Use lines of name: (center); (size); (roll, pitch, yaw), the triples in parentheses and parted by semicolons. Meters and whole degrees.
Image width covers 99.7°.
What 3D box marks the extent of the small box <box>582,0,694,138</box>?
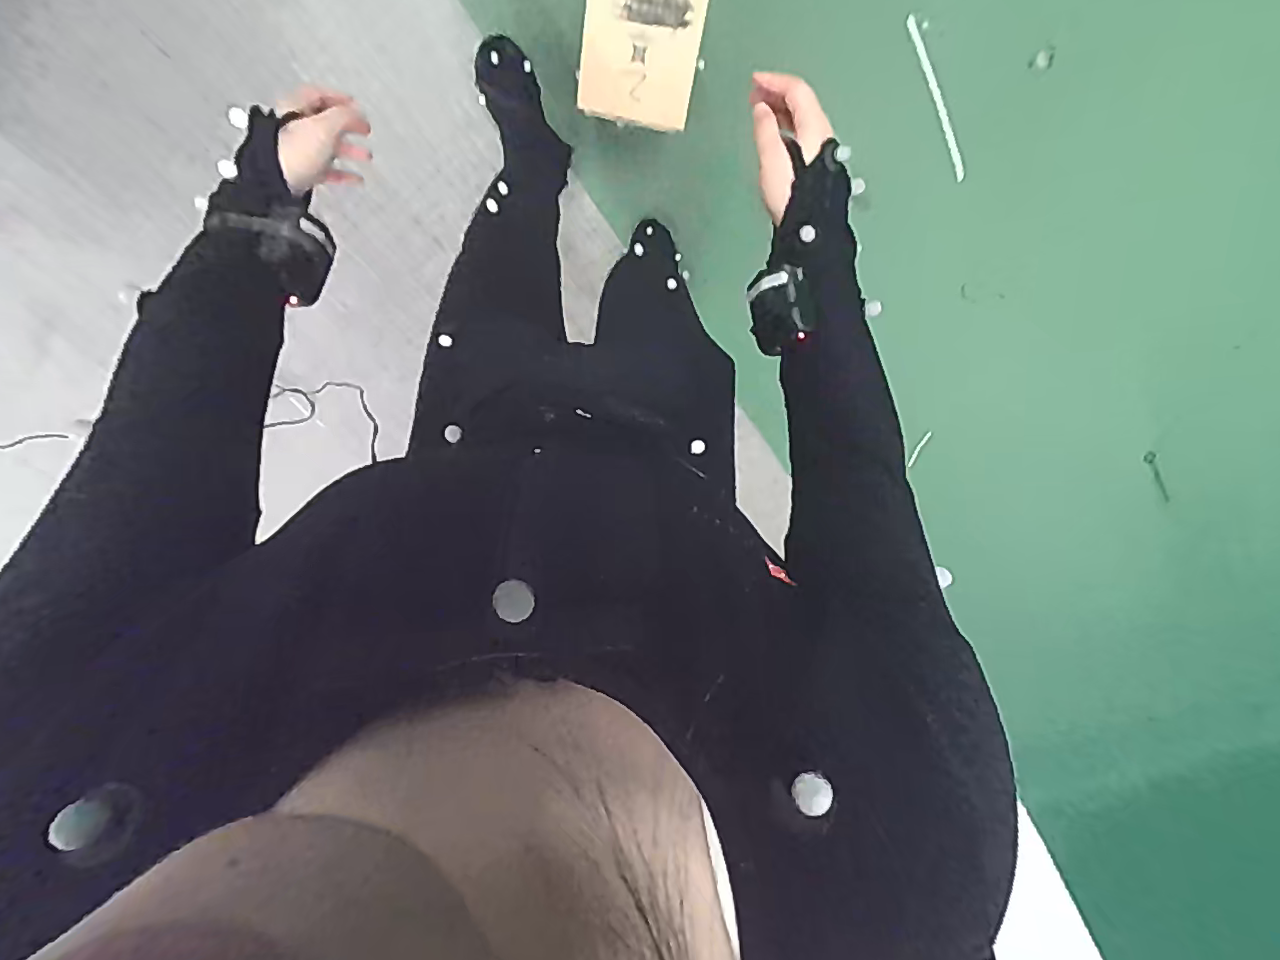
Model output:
small box: (-0.003, -0.734, 0.967); (0.168, 0.176, 0.179); (9, 125, -4)
